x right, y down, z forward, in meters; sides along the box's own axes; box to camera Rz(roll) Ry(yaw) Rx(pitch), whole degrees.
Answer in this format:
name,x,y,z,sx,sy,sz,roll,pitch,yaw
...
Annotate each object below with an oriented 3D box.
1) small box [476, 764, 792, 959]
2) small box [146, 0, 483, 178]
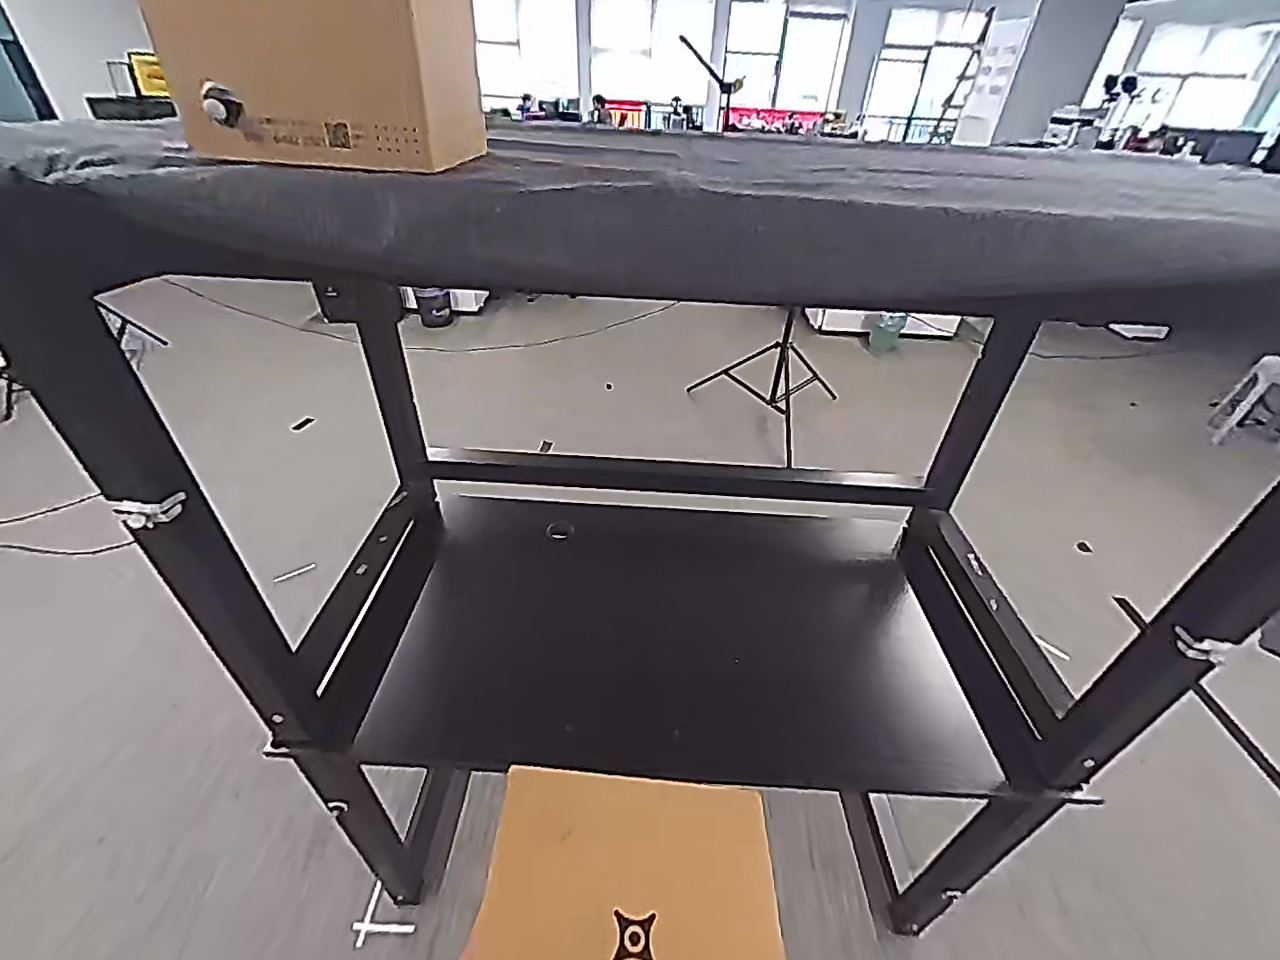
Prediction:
name,x,y,z,sx,sy,sz,roll,pitch,yaw
small box,-0.014,0.305,0.323,0.168,0.176,0.179,8,35,-5
small box,-0.220,-0.328,0.399,0.168,0.176,0.179,2,34,-3
